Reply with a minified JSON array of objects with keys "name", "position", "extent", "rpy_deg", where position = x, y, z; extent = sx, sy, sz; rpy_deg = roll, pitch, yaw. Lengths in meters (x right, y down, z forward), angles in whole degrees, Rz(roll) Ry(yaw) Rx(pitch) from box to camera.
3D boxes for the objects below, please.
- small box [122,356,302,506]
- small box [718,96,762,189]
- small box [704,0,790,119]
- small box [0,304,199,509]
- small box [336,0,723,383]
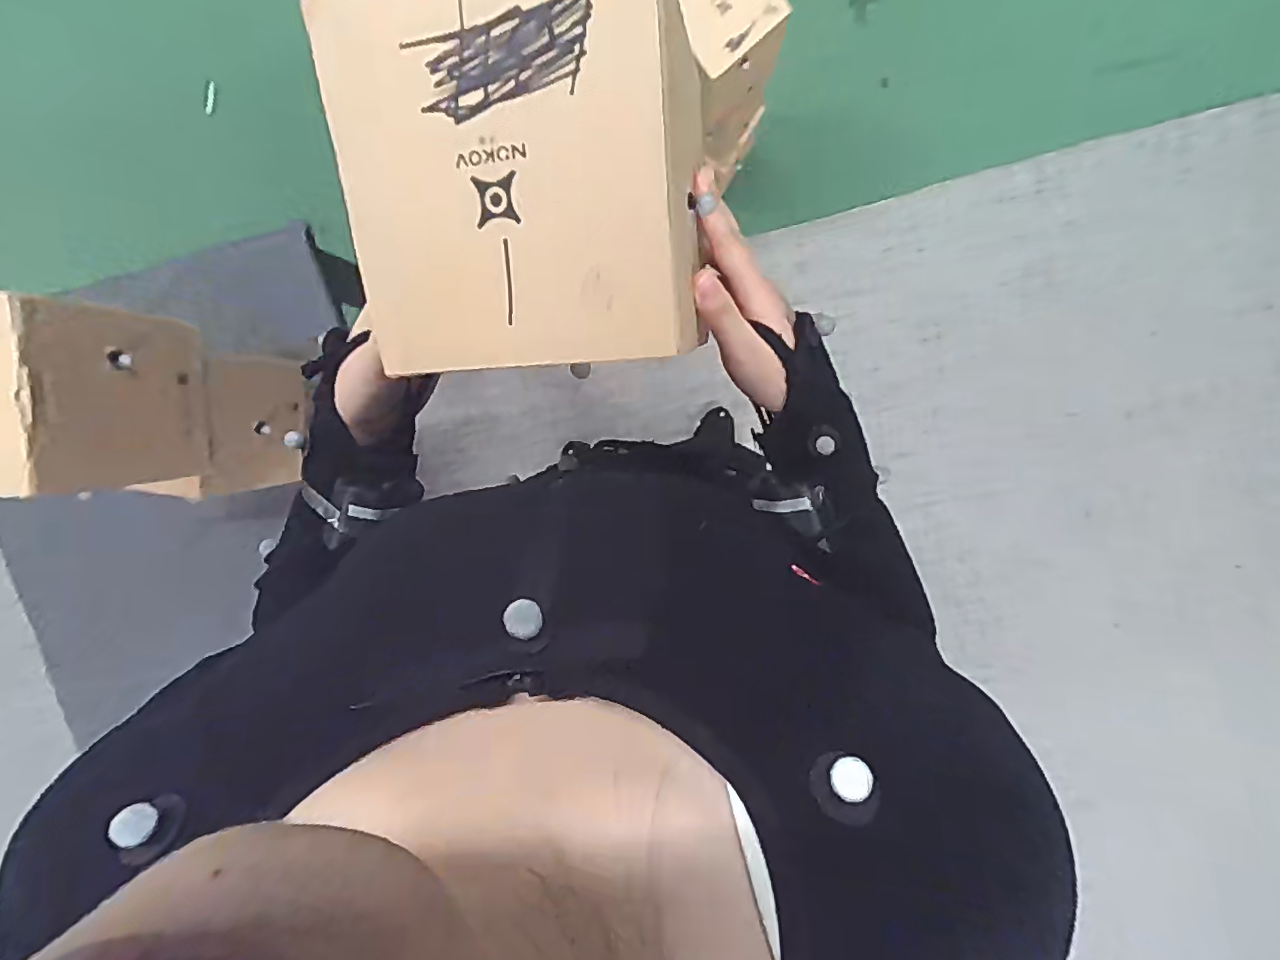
[{"name":"small box","position":[-0.558,-0.072,0.677],"extent":[0.179,0.176,0.168],"rpy_deg":[7,98,4]},{"name":"small box","position":[0.163,-0.816,1.286],"extent":[0.179,0.176,0.168],"rpy_deg":[32,98,-1]},{"name":"small box","position":[0.133,-0.790,0.959],"extent":[0.168,0.176,0.179],"rpy_deg":[-38,94,7]},{"name":"small box","position":[-0.563,-0.070,0.514],"extent":[0.179,0.176,0.168],"rpy_deg":[2,97,5]},{"name":"small box","position":[-0.038,-0.157,0.327],"extent":[0.168,0.176,0.179],"rpy_deg":[0,107,12]}]
